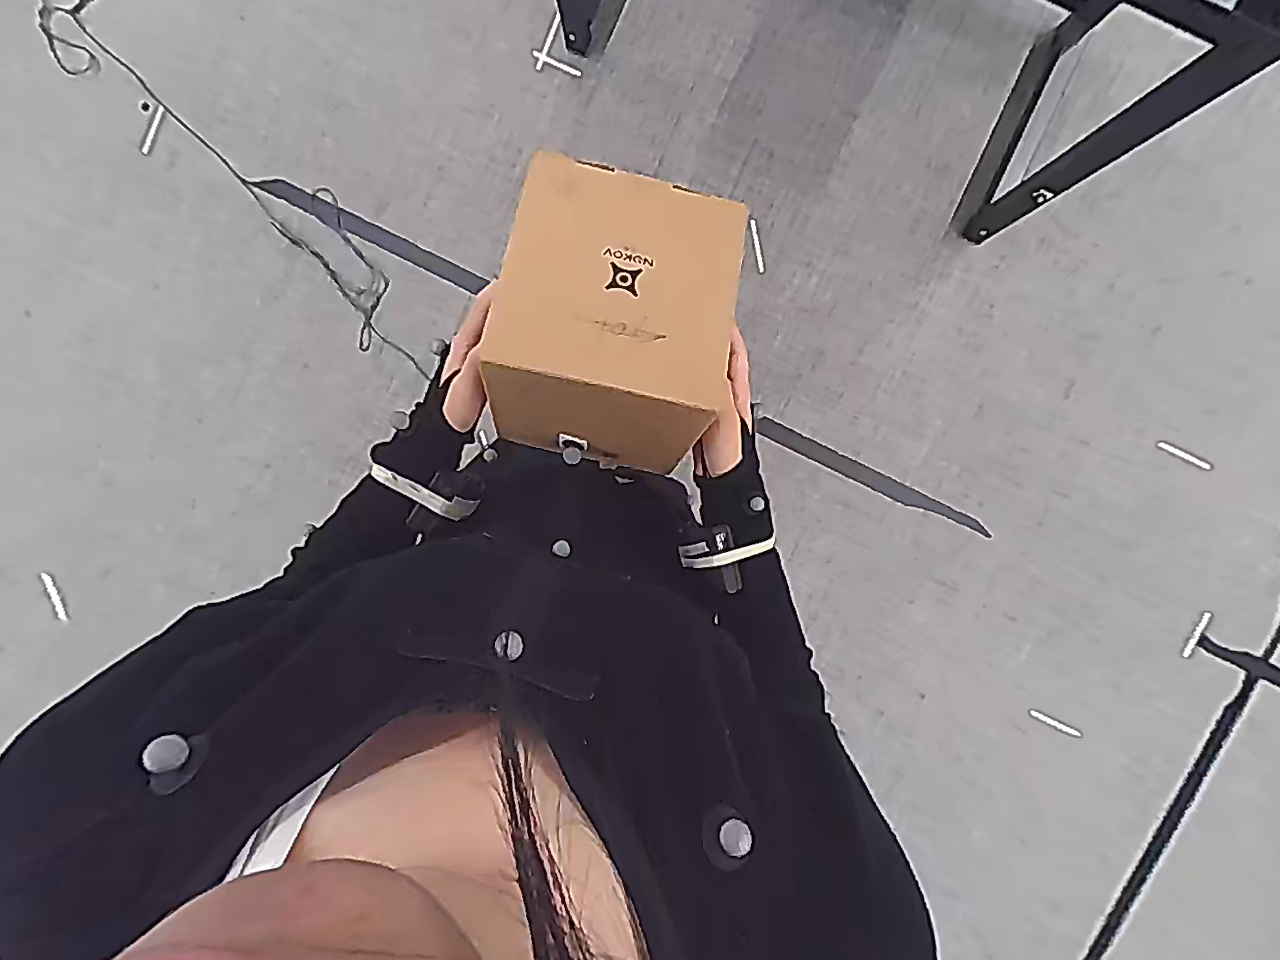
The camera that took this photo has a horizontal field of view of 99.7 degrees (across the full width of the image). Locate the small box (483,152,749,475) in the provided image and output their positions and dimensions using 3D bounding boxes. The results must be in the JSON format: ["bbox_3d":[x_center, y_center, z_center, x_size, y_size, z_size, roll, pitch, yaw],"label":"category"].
[{"bbox_3d":[-0.022,-0.120,0.453,0.168,0.176,0.179,11,74,-6],"label":"small box"}]

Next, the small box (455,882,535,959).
[{"bbox_3d":[-0.401,1.263,1.499,0.179,0.176,0.168,13,94,-1],"label":"small box"}]
